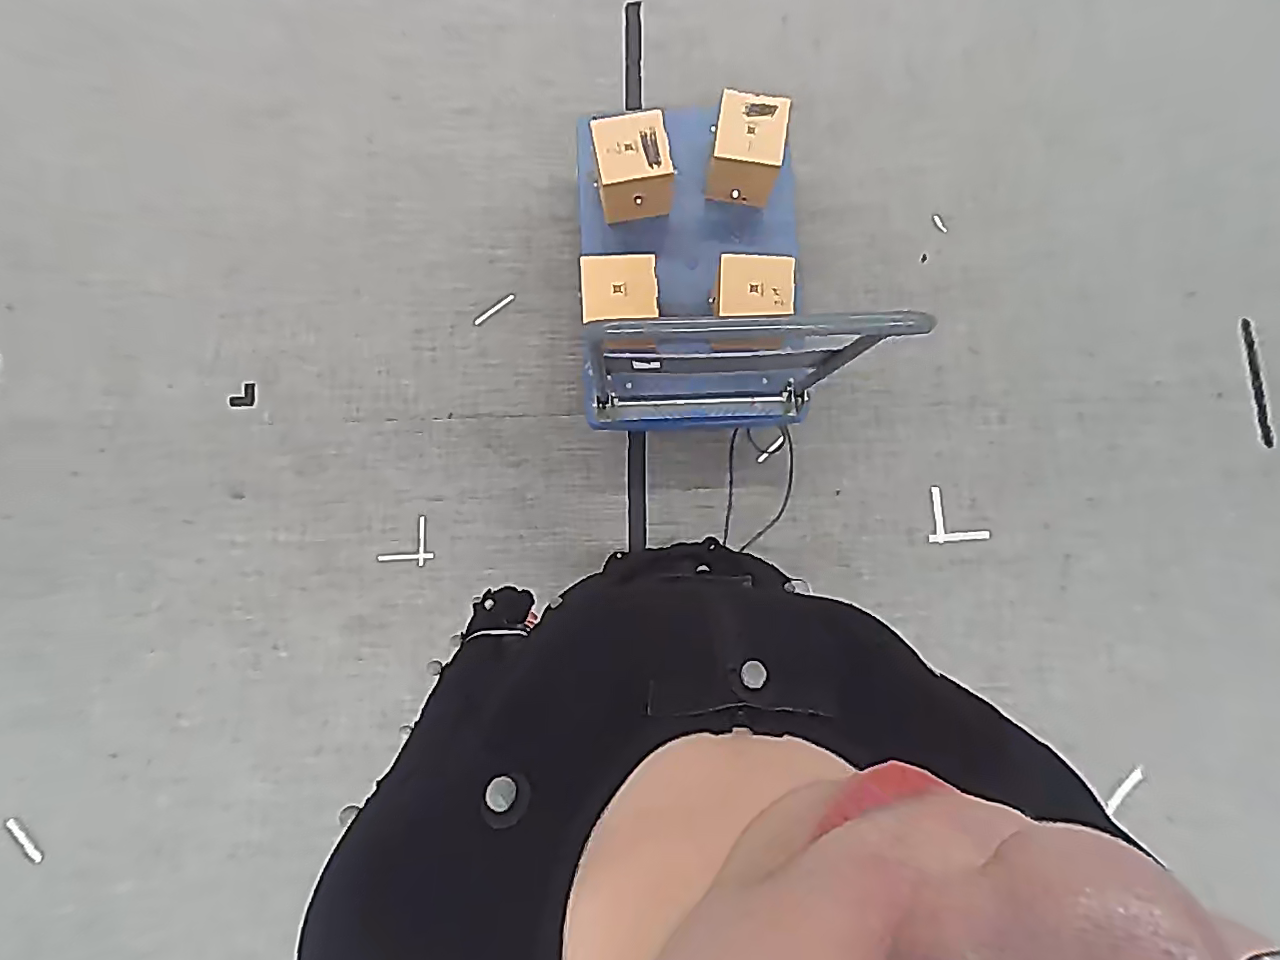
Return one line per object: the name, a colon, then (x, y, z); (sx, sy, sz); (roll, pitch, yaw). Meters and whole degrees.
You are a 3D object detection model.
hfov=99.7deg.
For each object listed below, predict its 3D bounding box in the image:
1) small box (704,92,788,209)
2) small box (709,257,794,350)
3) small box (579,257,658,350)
small box: (0.262, -0.826, 1.368); (0.168, 0.176, 0.179); (9, 85, 0)
small box: (0.266, -0.426, 1.327); (0.179, 0.176, 0.168); (3, 84, -1)
small box: (-0.052, -0.424, 1.322); (0.179, 0.176, 0.168); (-4, 84, -3)
